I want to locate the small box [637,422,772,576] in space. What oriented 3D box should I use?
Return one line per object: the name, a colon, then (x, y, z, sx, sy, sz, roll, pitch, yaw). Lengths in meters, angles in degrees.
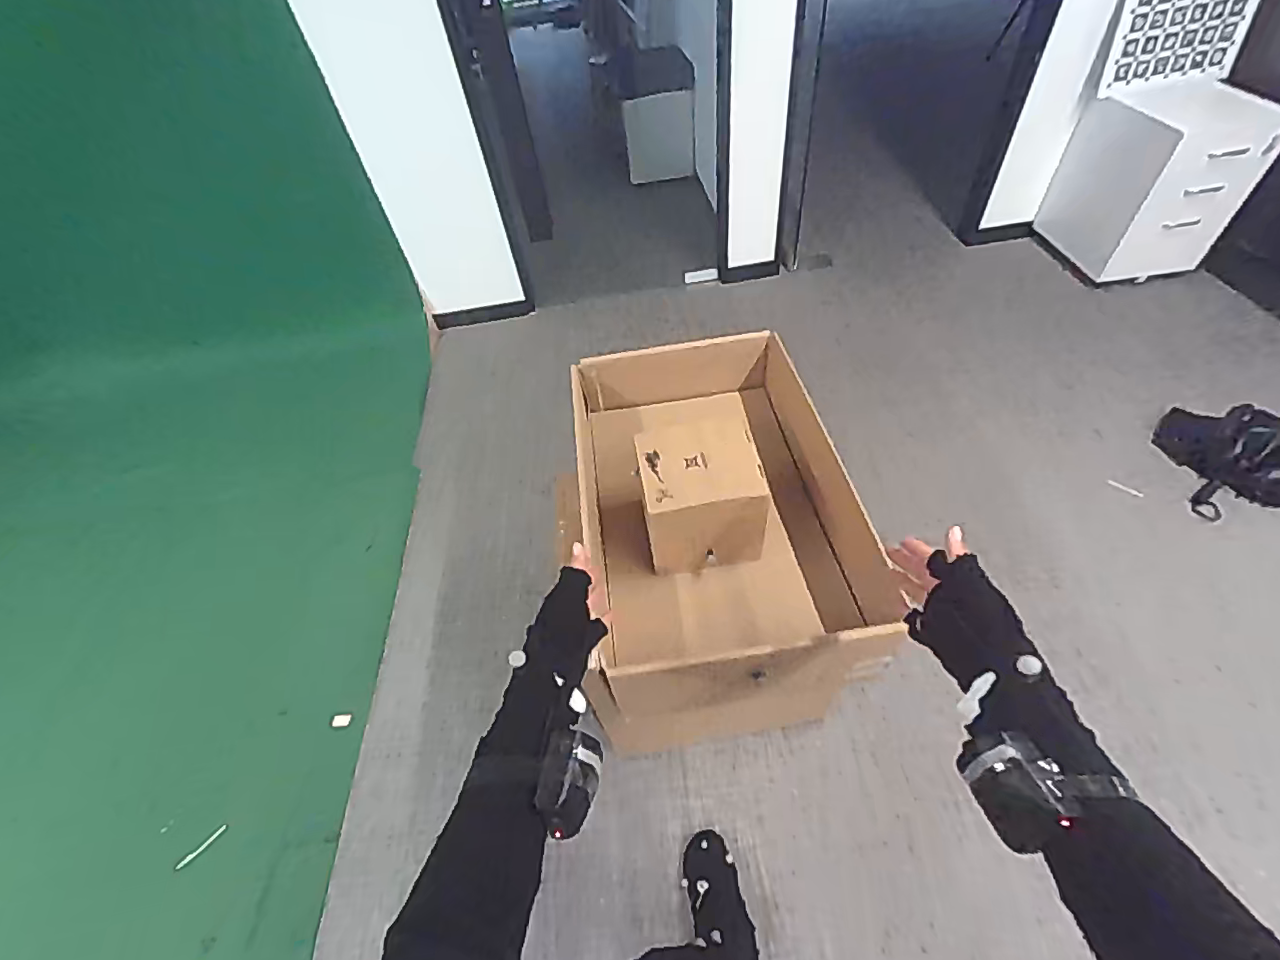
small box: (0.094, 0.033, 0.862, 0.179, 0.176, 0.168, -9, 48, -2)
